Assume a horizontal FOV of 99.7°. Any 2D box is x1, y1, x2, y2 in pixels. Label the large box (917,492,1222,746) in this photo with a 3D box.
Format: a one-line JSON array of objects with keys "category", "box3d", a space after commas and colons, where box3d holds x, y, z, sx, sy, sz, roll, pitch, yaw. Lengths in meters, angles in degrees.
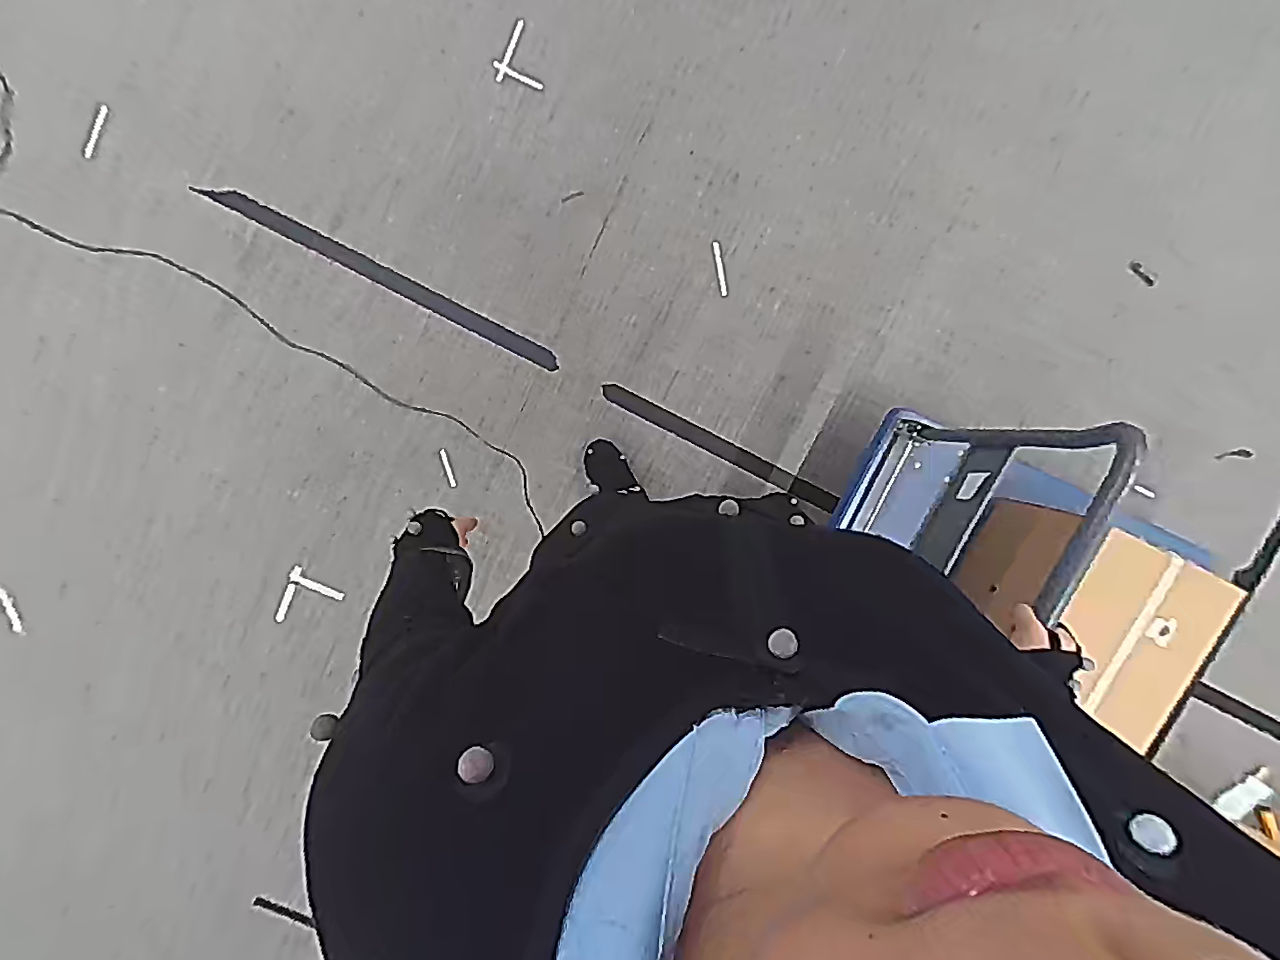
[{"category": "large box", "box3d": [0.909, 0.281, 1.204, 0.320, 0.320, 0.408, 25, 95, -3]}]
